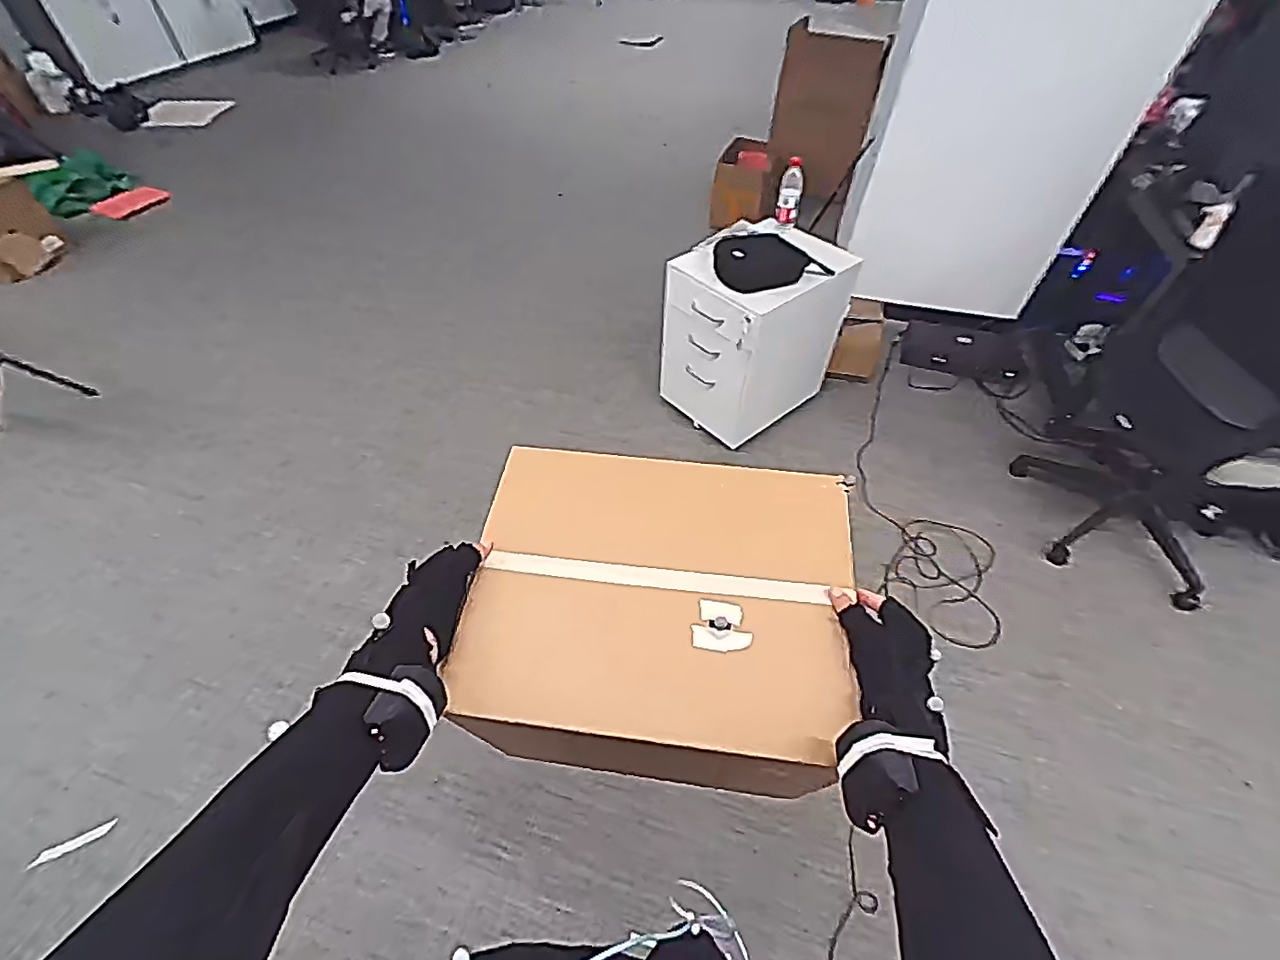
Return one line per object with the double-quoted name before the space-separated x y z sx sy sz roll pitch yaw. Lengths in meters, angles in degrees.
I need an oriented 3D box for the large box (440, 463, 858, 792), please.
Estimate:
"large box" 0.019 0.201 0.710 0.408 0.320 0.320 5 56 4
